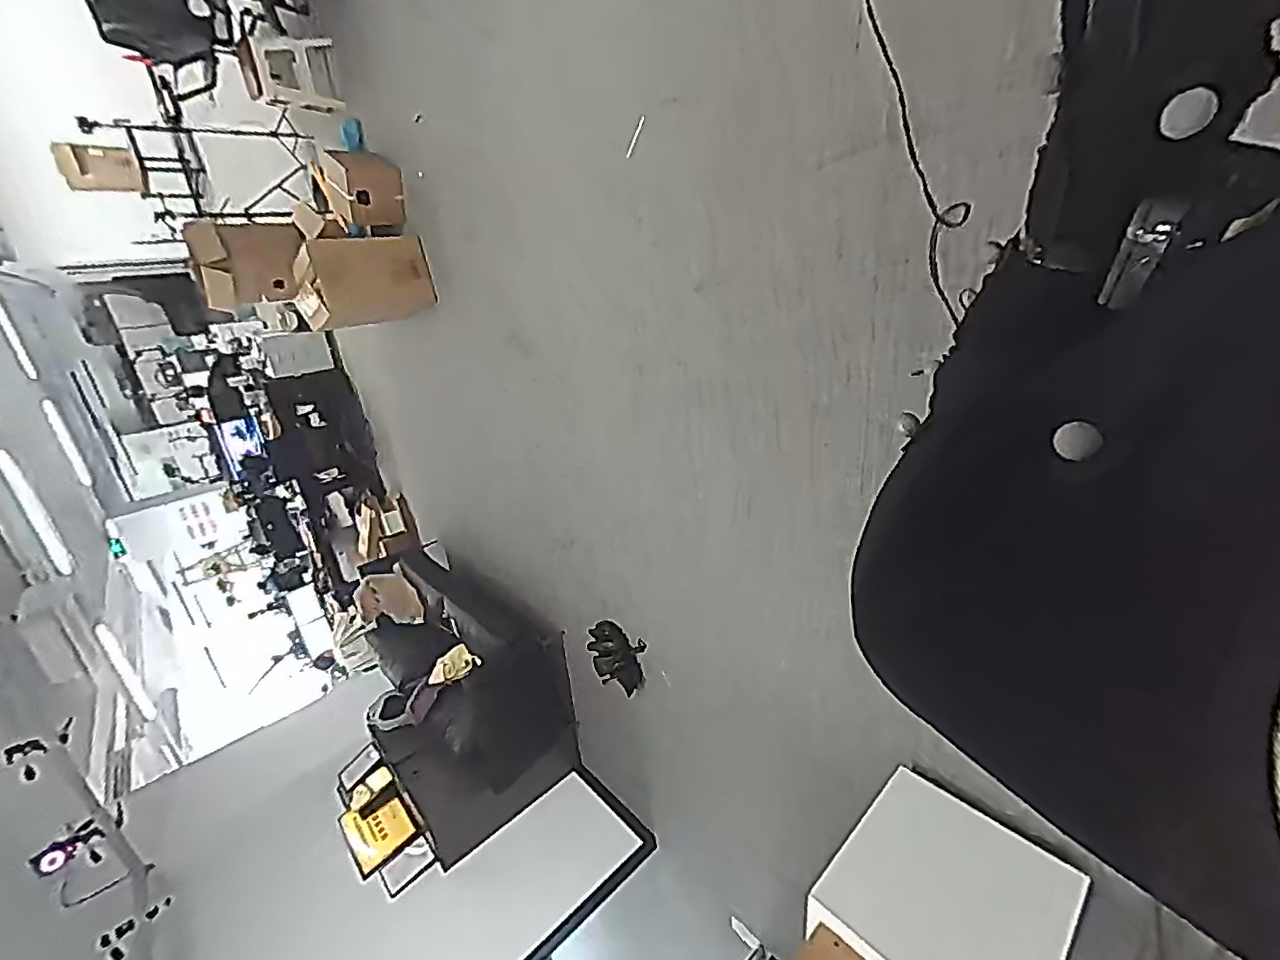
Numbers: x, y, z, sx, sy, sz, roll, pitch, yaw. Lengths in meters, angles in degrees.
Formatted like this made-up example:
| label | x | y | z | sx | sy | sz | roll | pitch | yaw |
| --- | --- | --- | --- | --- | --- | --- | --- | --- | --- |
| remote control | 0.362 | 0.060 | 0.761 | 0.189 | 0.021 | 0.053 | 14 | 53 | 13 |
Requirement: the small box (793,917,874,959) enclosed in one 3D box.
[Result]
| label | x | y | z | sx | sy | sz | roll | pitch | yaw |
| --- | --- | --- | --- | --- | --- | --- | --- | --- | --- |
| small box | 0.501 | 1.296 | 1.388 | 0.168 | 0.176 | 0.179 | 19 | 124 | 46 |
